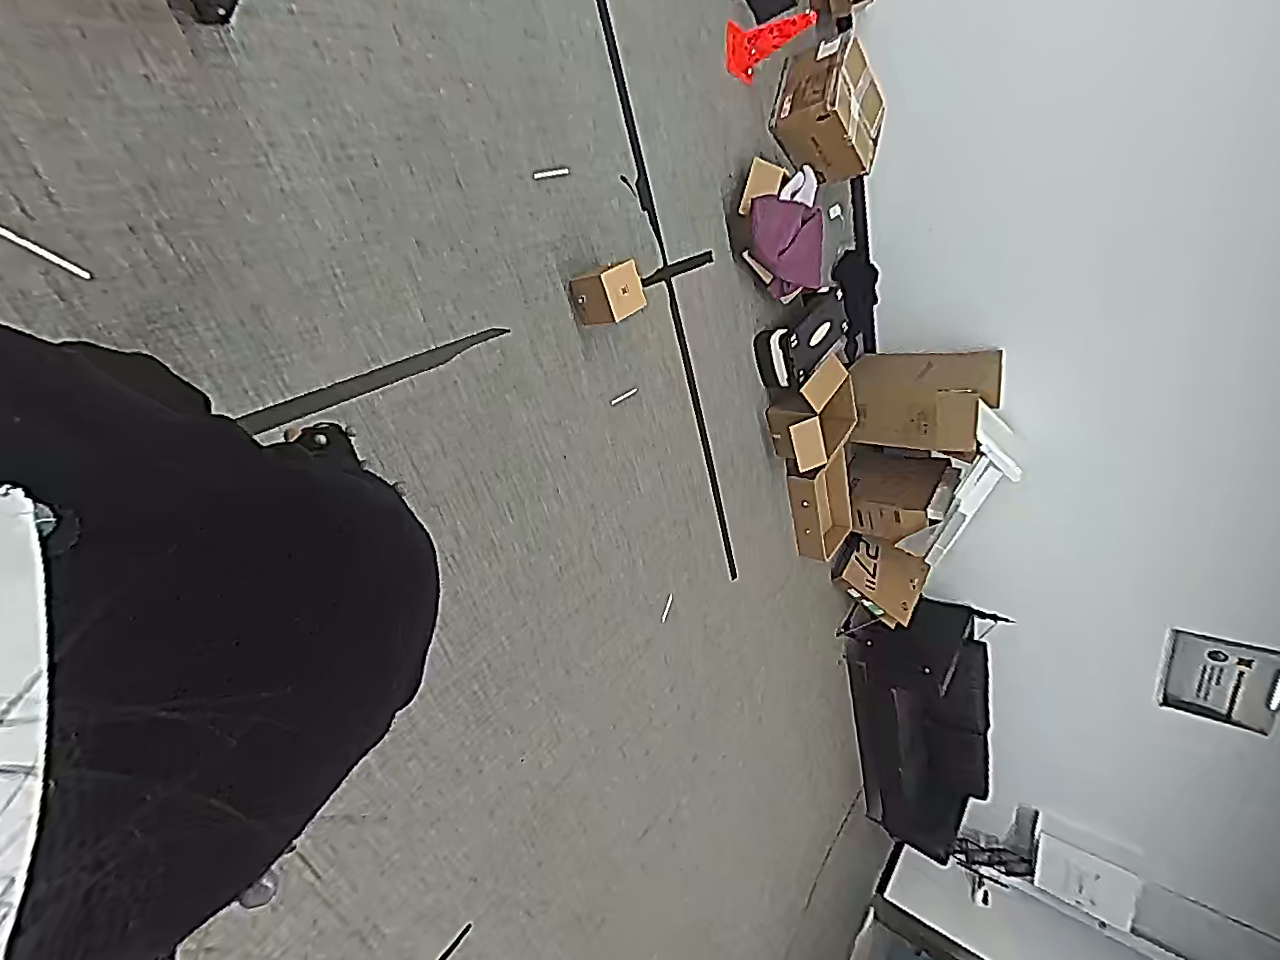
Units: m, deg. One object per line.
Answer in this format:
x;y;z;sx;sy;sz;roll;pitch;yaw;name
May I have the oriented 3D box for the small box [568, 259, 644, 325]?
-0.120;-0.658;1.900;0.179;0.176;0.168;-41;124;-34;small box
